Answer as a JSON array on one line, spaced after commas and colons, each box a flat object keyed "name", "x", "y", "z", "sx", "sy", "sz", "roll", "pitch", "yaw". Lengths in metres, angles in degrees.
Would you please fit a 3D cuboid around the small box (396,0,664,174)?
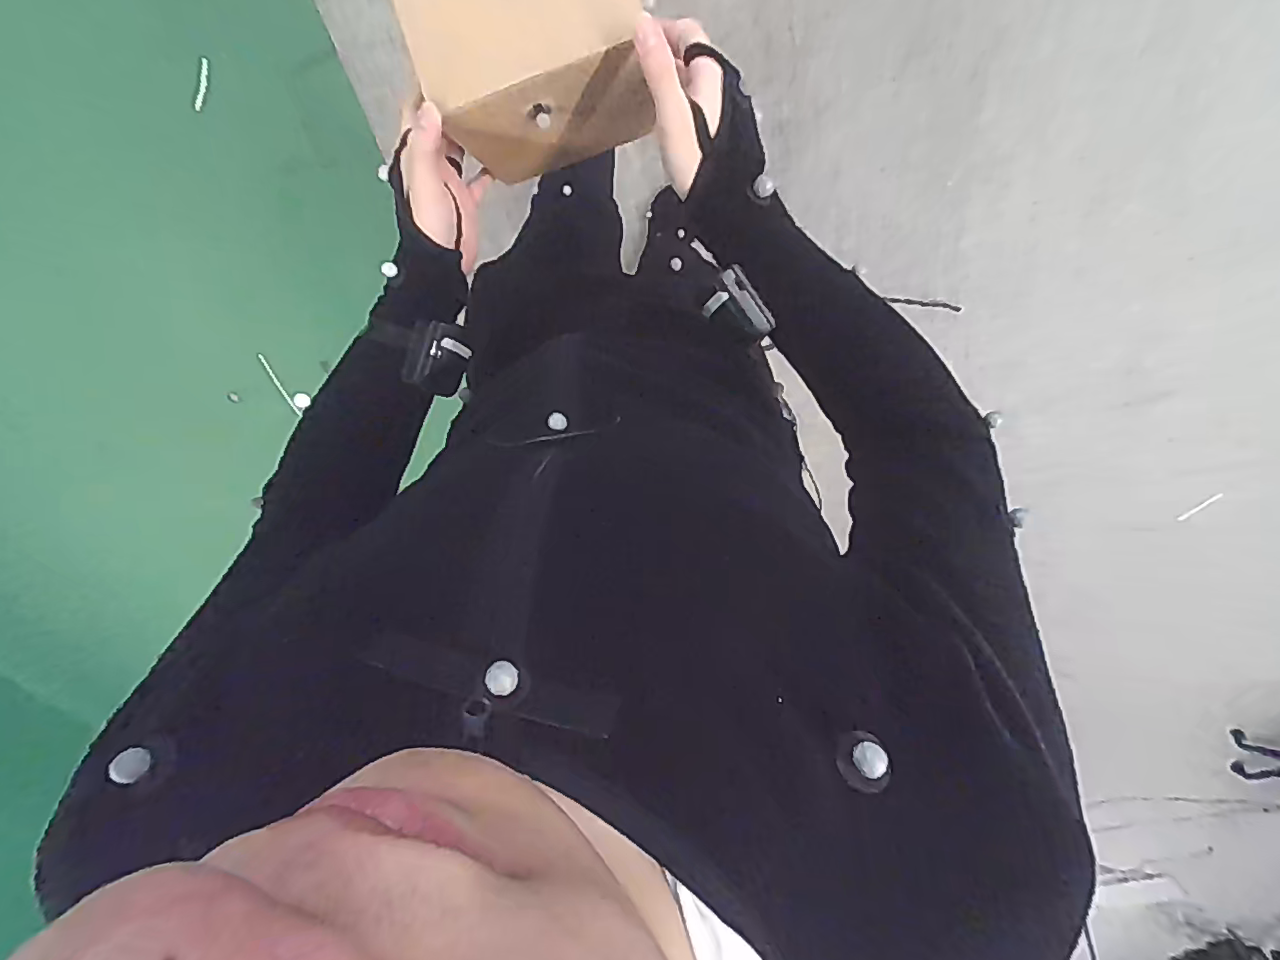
[{"name": "small box", "x": -0.086, "y": -0.388, "z": 0.454, "sx": 0.179, "sy": 0.176, "sz": 0.168, "roll": -14, "pitch": 101, "yaw": 9}]
